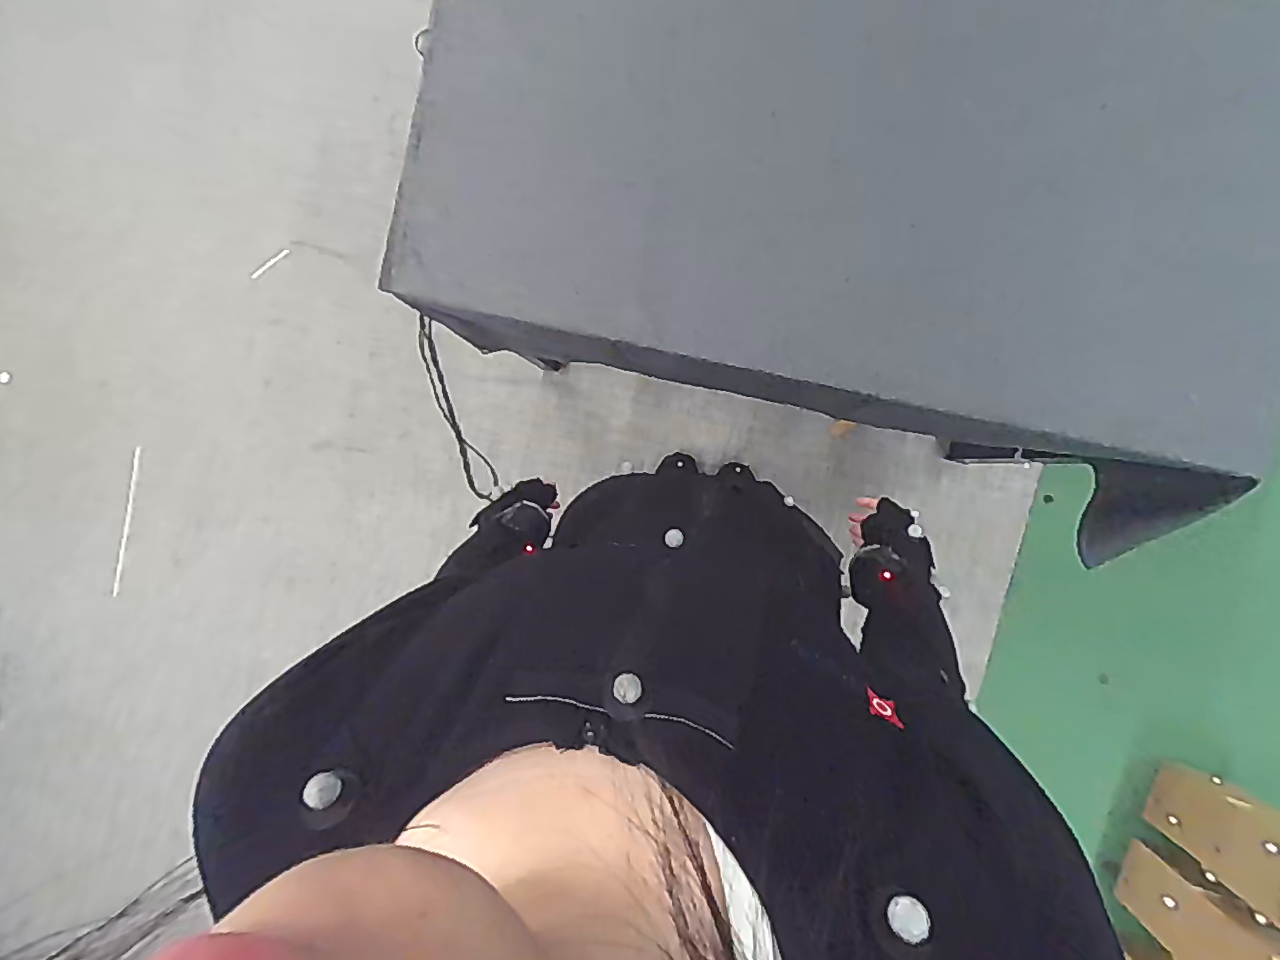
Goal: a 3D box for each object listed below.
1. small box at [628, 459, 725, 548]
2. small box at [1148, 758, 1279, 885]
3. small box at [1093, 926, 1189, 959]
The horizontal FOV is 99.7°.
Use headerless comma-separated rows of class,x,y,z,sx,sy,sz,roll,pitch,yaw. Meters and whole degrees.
small box,0.092,0.061,1.429,0.168,0.176,0.179,-43,71,18
small box,1.386,0.801,1.291,0.179,0.176,0.168,18,94,5
small box,1.264,1.249,1.320,0.179,0.176,0.168,14,94,6
